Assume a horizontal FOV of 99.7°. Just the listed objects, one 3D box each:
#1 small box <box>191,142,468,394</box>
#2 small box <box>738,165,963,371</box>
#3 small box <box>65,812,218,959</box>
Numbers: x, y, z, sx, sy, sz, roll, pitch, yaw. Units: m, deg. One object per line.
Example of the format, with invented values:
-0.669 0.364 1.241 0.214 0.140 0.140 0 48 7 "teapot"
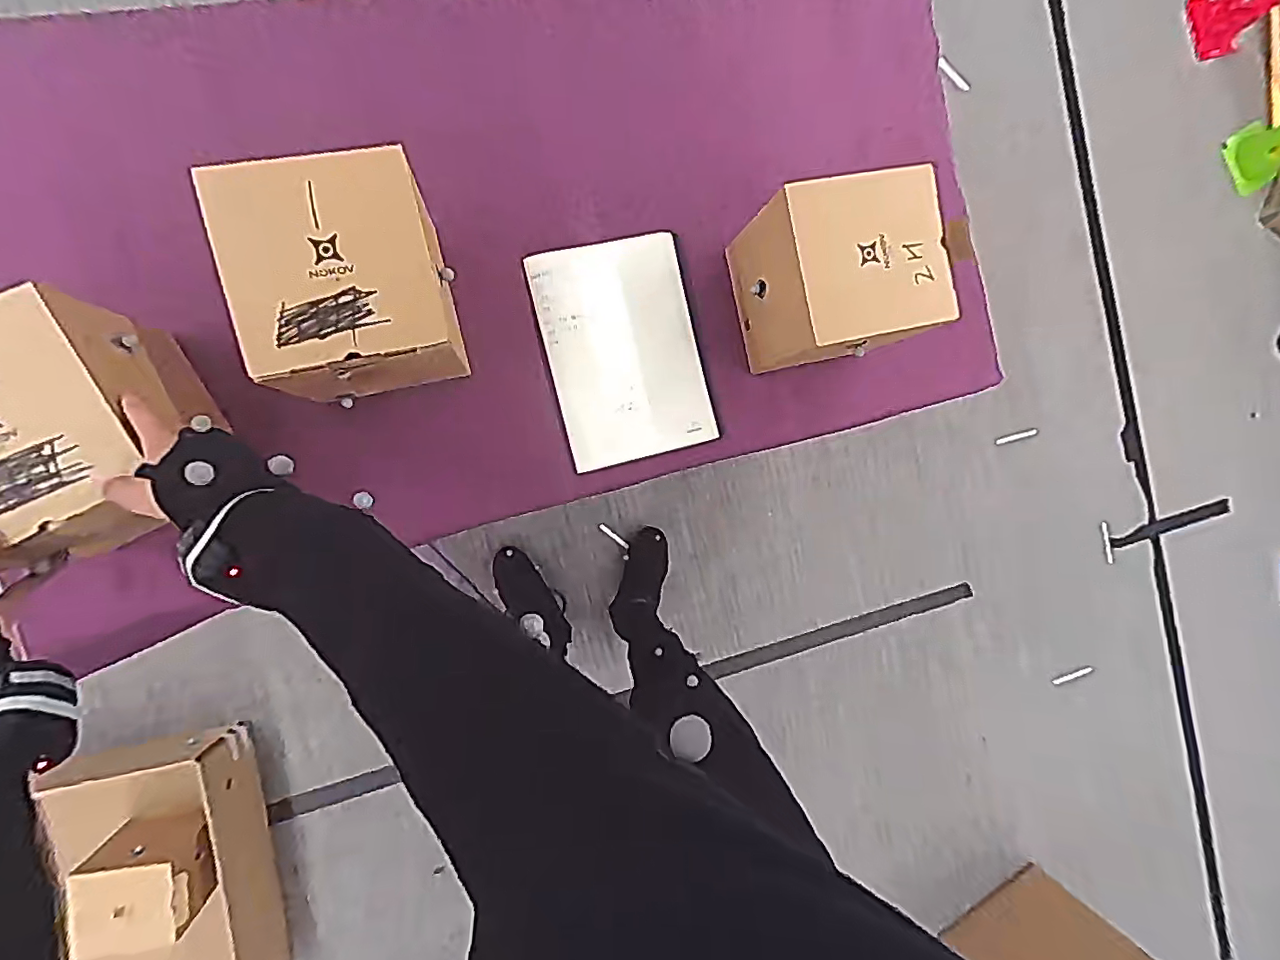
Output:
-0.275 -0.186 0.526 0.168 0.176 0.179 -14 93 -11 "small box"
0.227 -0.231 0.627 0.179 0.176 0.168 -13 94 -11 "small box"
-0.995 0.808 1.098 0.179 0.176 0.168 0 92 -12 "small box"
